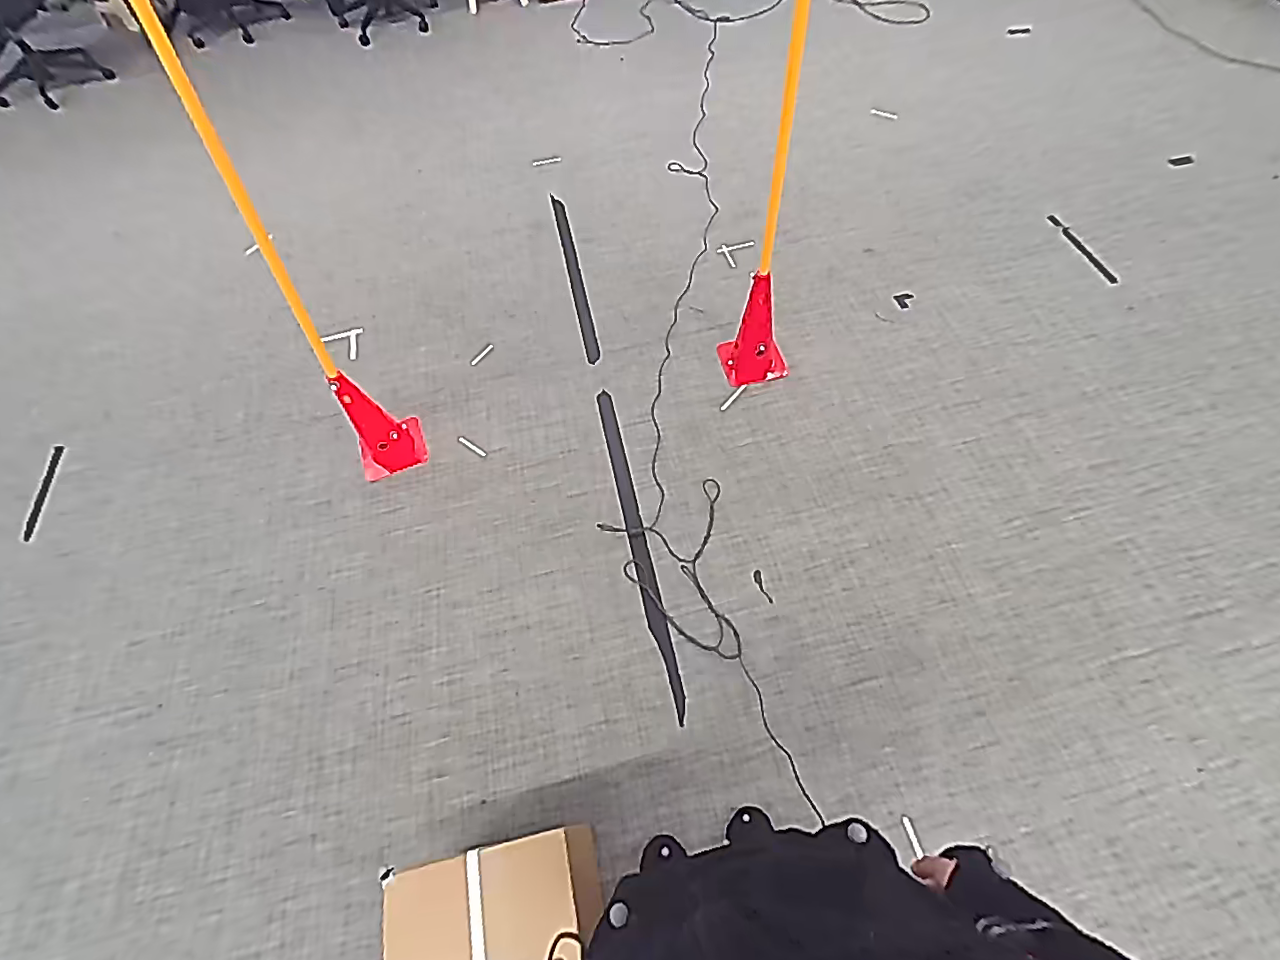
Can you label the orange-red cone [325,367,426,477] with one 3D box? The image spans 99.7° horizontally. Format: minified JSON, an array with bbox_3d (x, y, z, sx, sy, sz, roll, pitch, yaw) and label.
[{"bbox_3d":[-0.806,-0.195,1.584,0.199,0.360,0.198,-21,59,-7],"label":"orange-red cone"}]
